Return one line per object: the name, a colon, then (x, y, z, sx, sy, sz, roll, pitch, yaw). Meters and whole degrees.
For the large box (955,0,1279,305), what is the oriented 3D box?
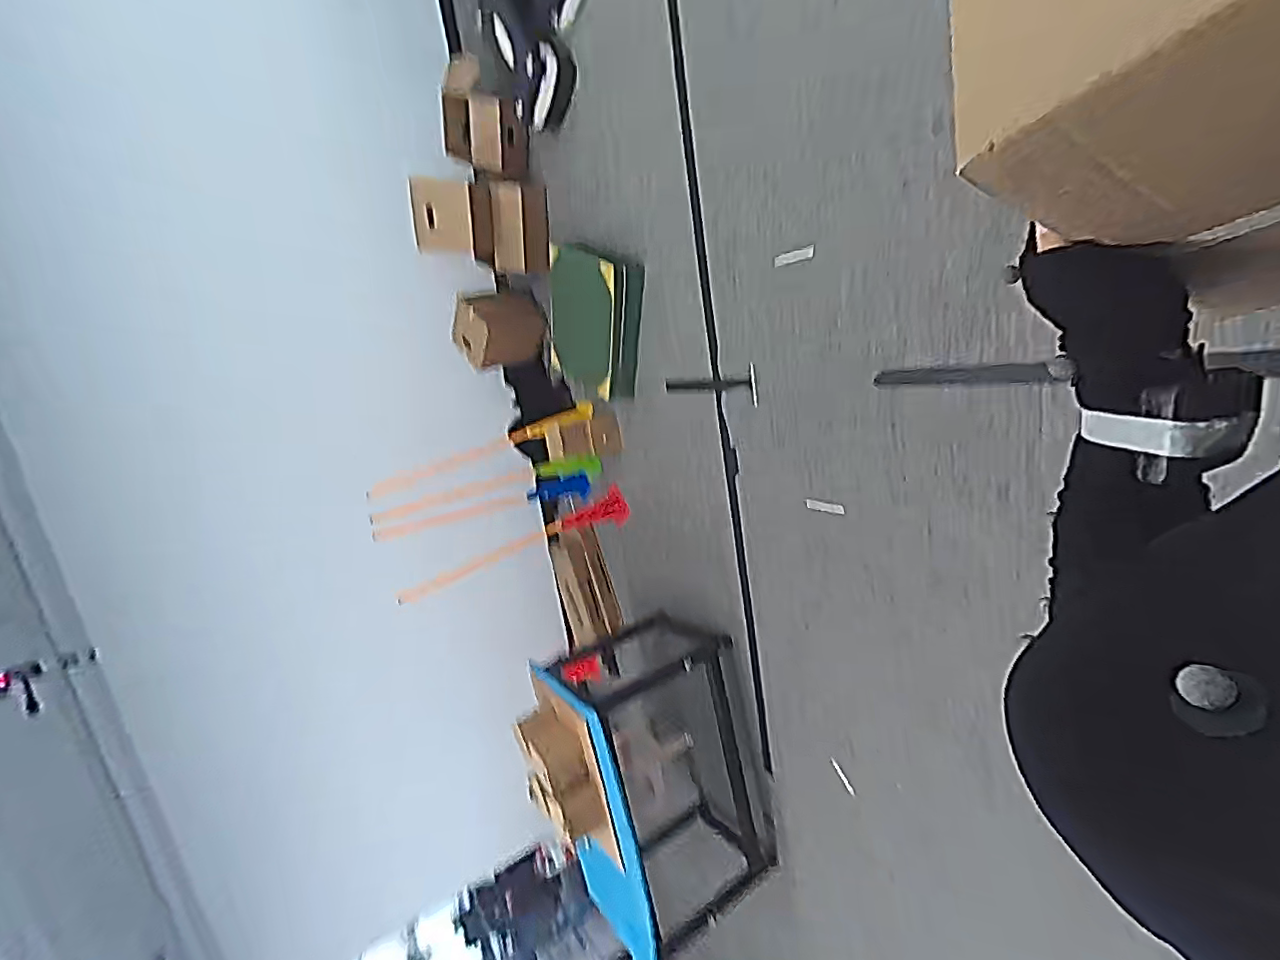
large box: (0.378, -0.303, 0.164, 0.408, 0.320, 0.320, -9, 78, 61)
